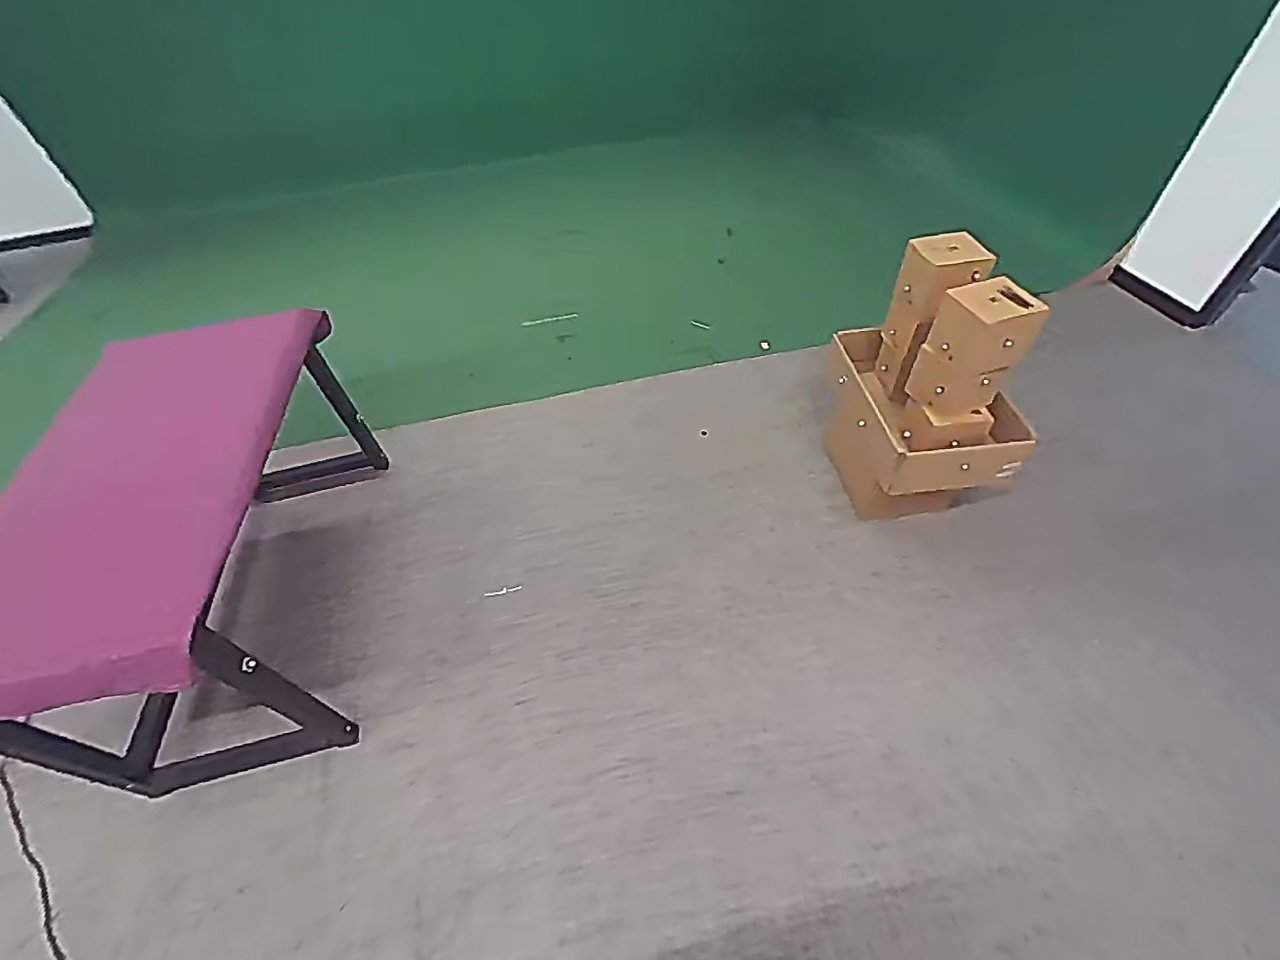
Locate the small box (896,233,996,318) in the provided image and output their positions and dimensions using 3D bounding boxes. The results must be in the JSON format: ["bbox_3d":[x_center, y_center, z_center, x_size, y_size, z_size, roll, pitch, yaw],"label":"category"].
[{"bbox_3d":[0.891,-0.600,1.595,0.179,0.176,0.168,-9,48,-1],"label":"small box"}]

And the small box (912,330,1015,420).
[{"bbox_3d":[0.908,-0.297,1.543,0.179,0.176,0.168,-19,50,-11],"label":"small box"}]

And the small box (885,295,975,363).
[{"bbox_3d":[0.912,-0.495,1.720,0.179,0.176,0.168,-9,49,-1],"label":"small box"}]
